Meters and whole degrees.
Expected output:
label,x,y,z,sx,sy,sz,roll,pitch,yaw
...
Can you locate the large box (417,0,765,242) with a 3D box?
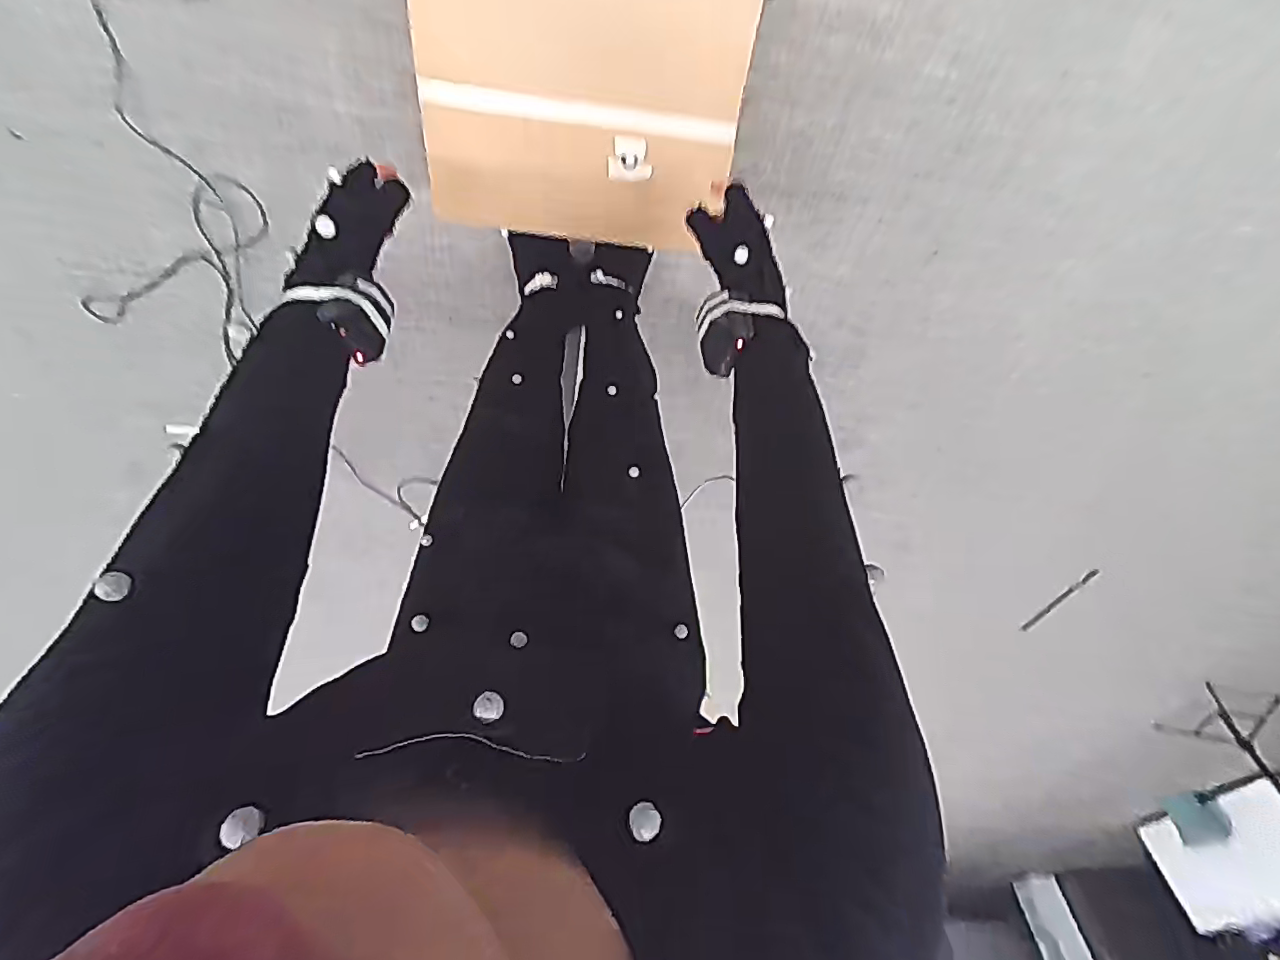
label,x,y,z,sx,sy,sz,roll,pitch,yaw
large box,-0.072,-0.575,0.796,0.408,0.320,0.320,4,131,-6
